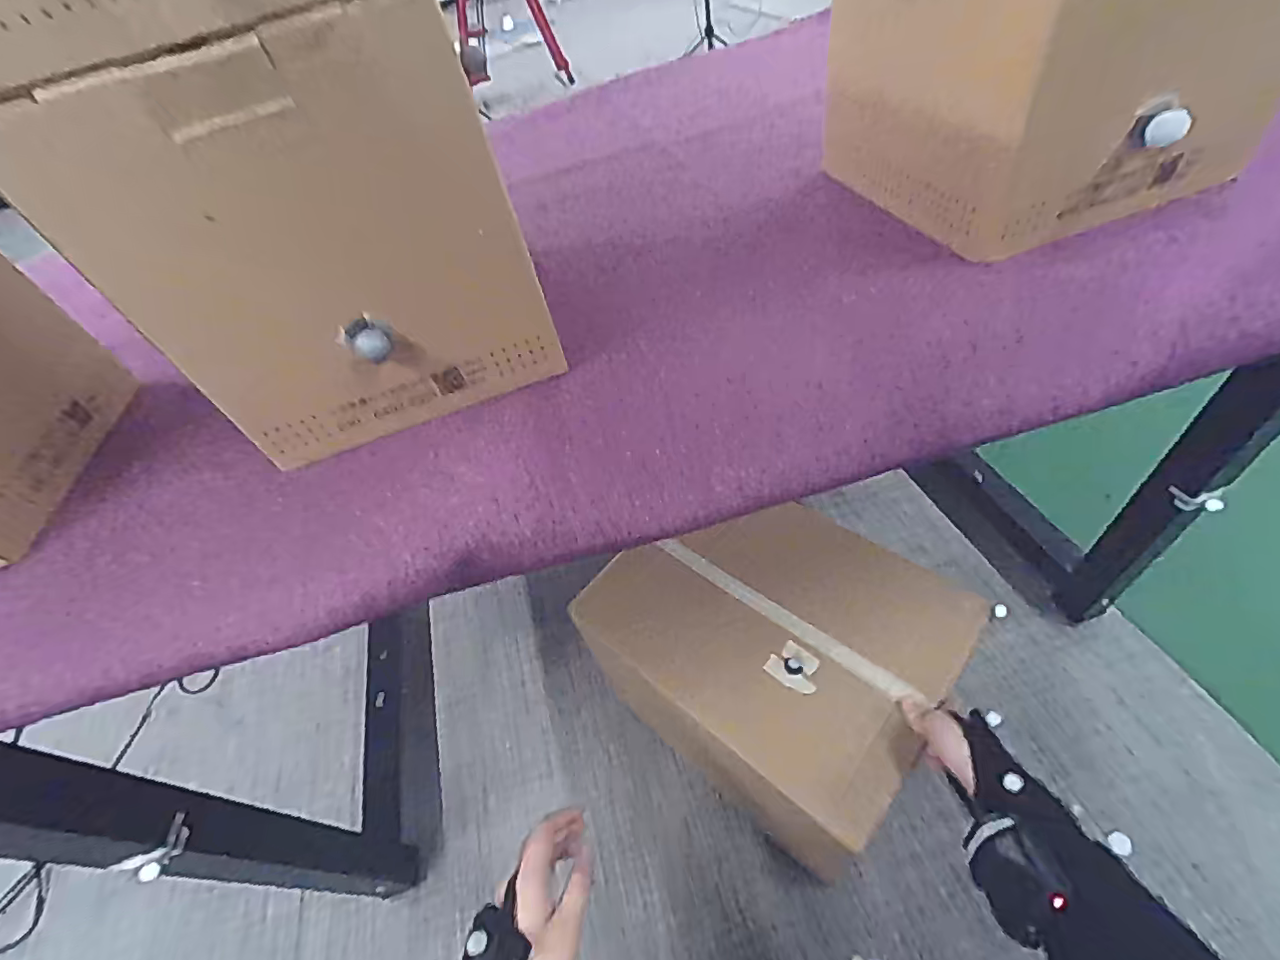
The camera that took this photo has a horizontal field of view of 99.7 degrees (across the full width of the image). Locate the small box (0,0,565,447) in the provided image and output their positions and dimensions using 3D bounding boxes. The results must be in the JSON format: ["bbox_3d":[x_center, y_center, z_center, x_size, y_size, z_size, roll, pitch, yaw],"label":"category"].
[{"bbox_3d":[-0.154,-0.149,0.295,0.168,0.176,0.179,-20,48,-4],"label":"small box"}]

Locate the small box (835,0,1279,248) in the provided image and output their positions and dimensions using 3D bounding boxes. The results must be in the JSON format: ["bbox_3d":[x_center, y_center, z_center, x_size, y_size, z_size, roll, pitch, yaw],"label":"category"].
[{"bbox_3d":[0.226,-0.258,0.298,0.168,0.176,0.179,-20,49,-3],"label":"small box"}]

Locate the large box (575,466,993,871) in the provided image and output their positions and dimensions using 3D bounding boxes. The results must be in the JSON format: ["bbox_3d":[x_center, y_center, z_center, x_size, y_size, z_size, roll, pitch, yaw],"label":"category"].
[{"bbox_3d":[0.182,0.248,0.763,0.408,0.320,0.320,28,62,30],"label":"large box"}]
